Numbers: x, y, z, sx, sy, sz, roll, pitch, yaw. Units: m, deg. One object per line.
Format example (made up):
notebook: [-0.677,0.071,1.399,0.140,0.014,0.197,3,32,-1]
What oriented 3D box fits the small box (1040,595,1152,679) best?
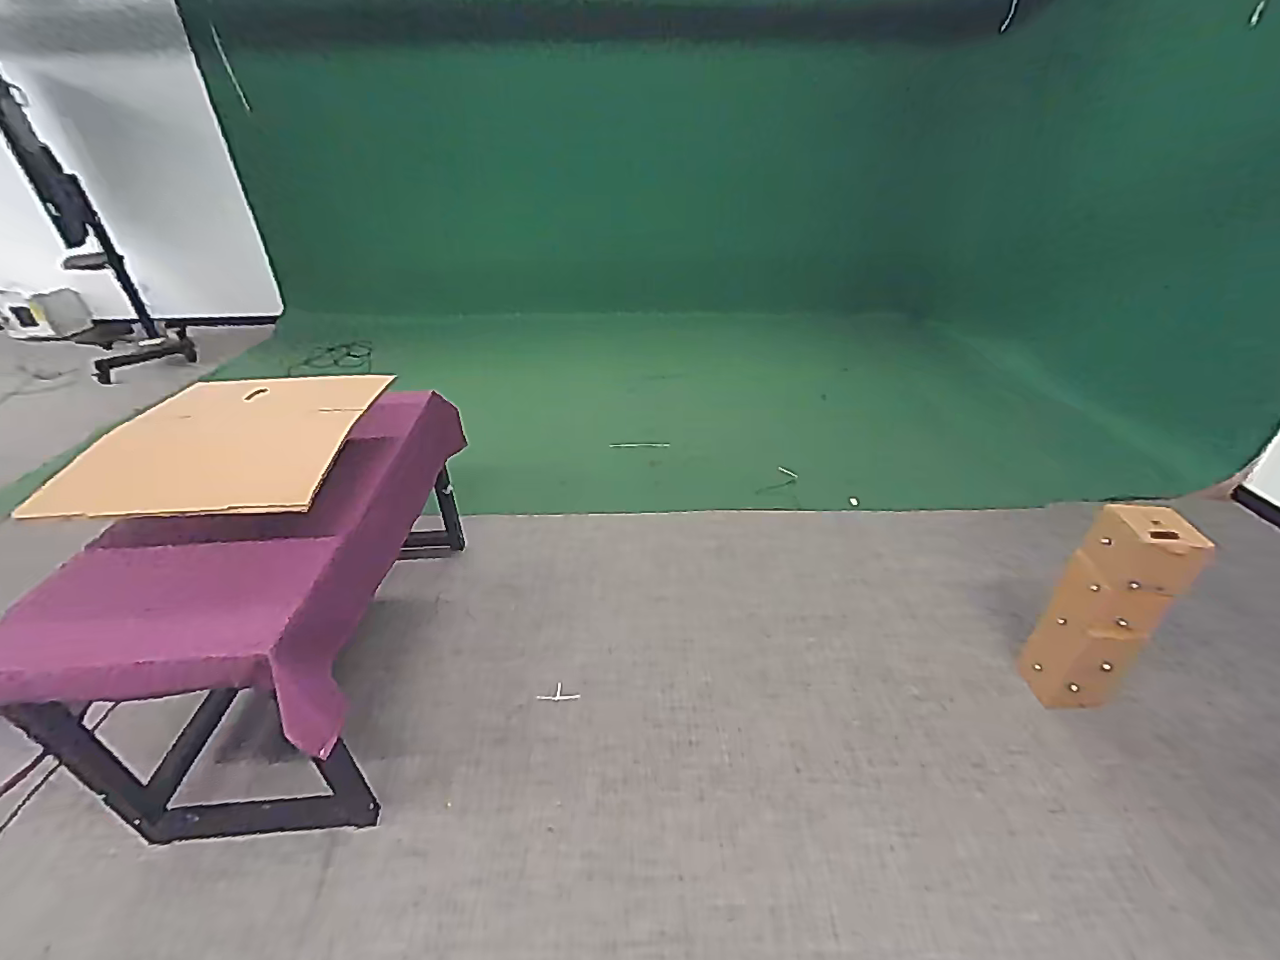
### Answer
small box: [1.359,0.471,1.628,0.168,0.176,0.179,0,33,4]

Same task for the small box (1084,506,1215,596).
small box: [1.359,0.191,1.459,0.168,0.176,0.179,4,32,7]

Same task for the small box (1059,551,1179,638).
small box: [1.357,0.327,1.551,0.168,0.176,0.179,2,33,6]
